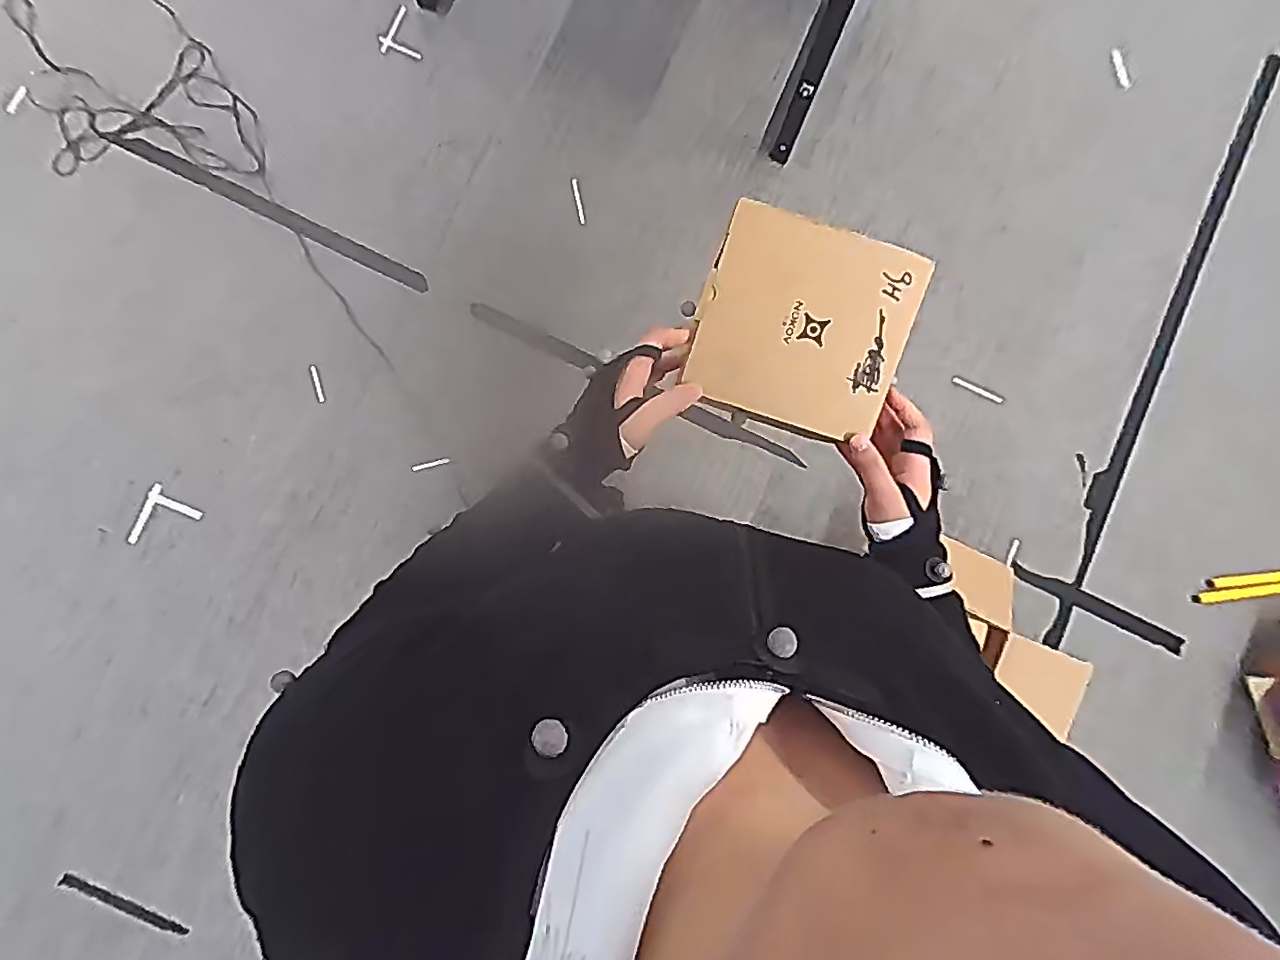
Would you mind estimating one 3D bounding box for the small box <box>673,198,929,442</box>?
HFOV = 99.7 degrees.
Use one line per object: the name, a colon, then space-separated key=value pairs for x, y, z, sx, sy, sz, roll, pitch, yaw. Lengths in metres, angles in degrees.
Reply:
small box: x=0.137 y=-0.142 z=0.537 sx=0.179 sy=0.176 sz=0.168 roll=18 pitch=97 yaw=-1
